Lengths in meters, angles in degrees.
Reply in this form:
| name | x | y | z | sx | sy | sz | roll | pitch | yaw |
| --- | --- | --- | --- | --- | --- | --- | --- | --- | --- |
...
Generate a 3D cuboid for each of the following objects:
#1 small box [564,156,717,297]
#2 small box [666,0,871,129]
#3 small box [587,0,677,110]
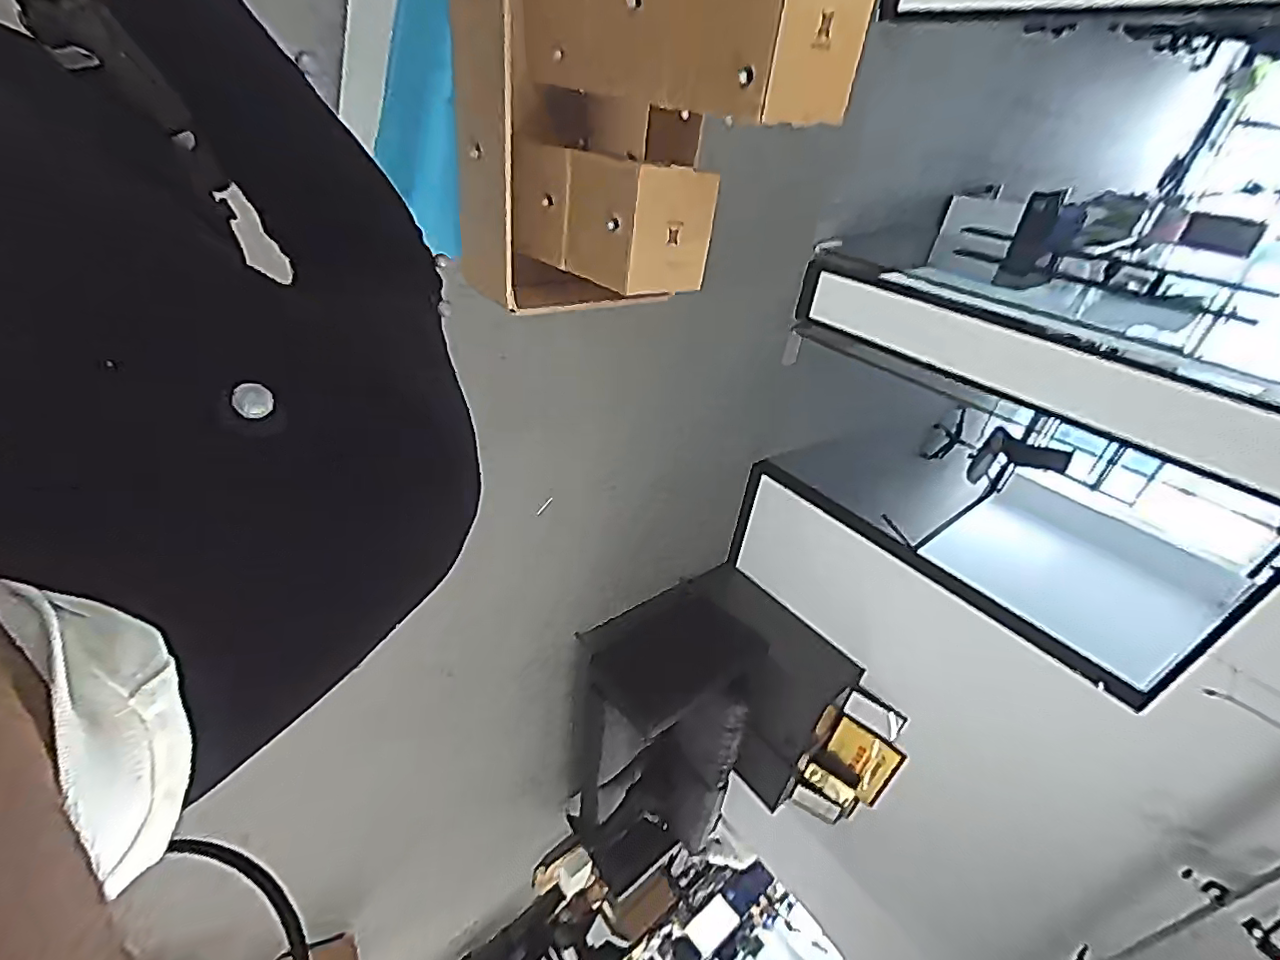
| name | x | y | z | sx | sy | sz | roll | pitch | yaw |
| --- | --- | --- | --- | --- | --- | --- | --- | --- | --- |
| small box | -0.006 | -0.405 | 0.862 | 0.168 | 0.176 | 0.179 | -19 | 132 | -38 |
| small box | 0.148 | -0.535 | 0.646 | 0.168 | 0.176 | 0.179 | -25 | 139 | -33 |
| small box | 0.041 | -0.616 | 0.739 | 0.168 | 0.176 | 0.179 | -24 | 137 | -33 |
